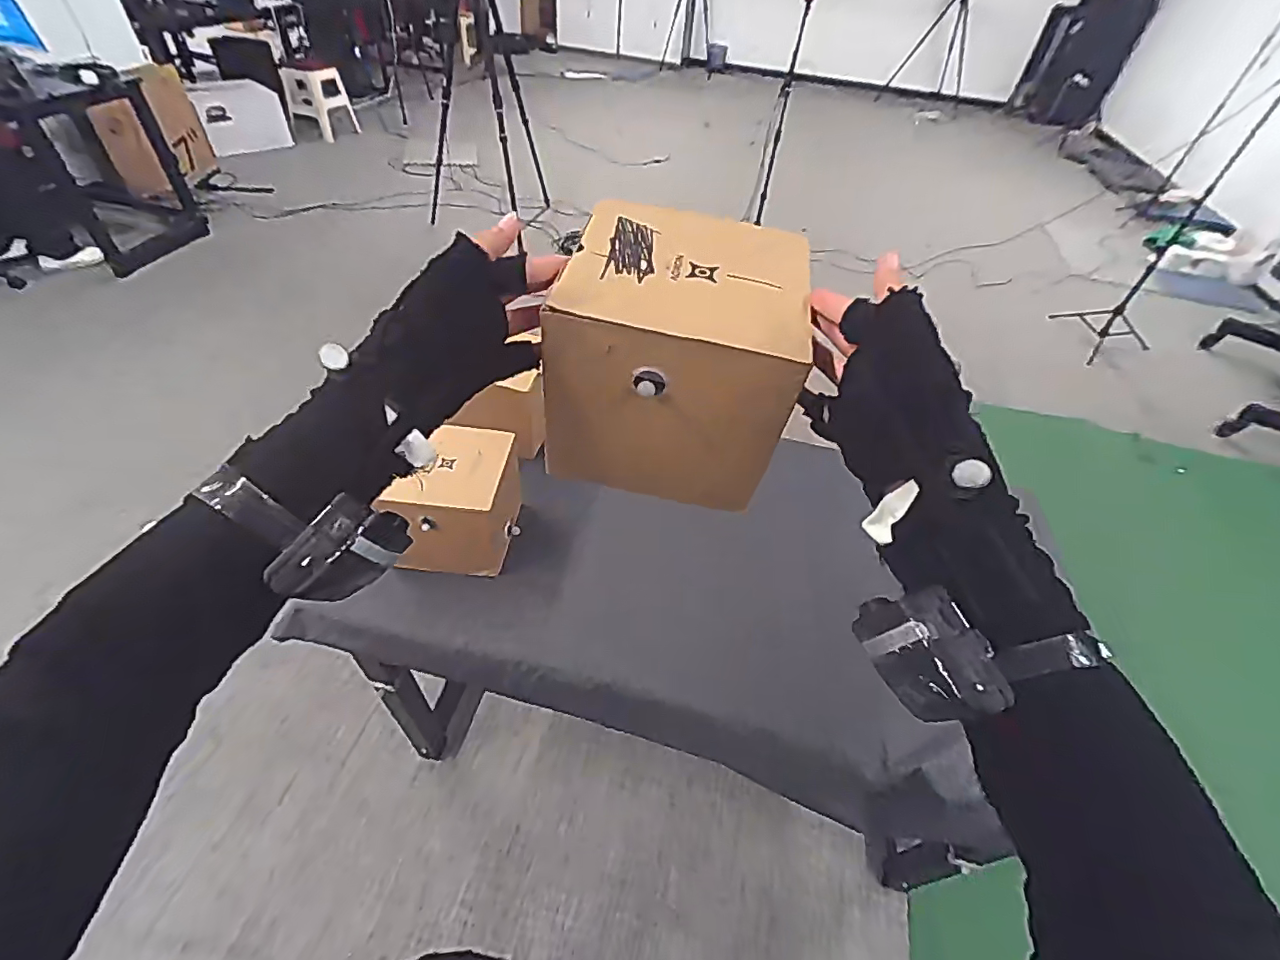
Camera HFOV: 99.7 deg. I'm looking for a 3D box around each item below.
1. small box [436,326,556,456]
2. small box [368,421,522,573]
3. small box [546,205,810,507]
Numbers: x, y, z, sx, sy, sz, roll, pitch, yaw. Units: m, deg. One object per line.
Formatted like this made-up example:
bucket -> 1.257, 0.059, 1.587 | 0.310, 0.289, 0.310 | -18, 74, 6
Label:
small box -> -0.264, -0.168, 1.047 | 0.179, 0.176, 0.168 | 13, 47, 4
small box -> -0.293, 0.030, 0.856 | 0.179, 0.176, 0.168 | 7, 47, -3
small box -> 0.029, -0.098, 0.455 | 0.179, 0.176, 0.168 | 13, 51, 1
